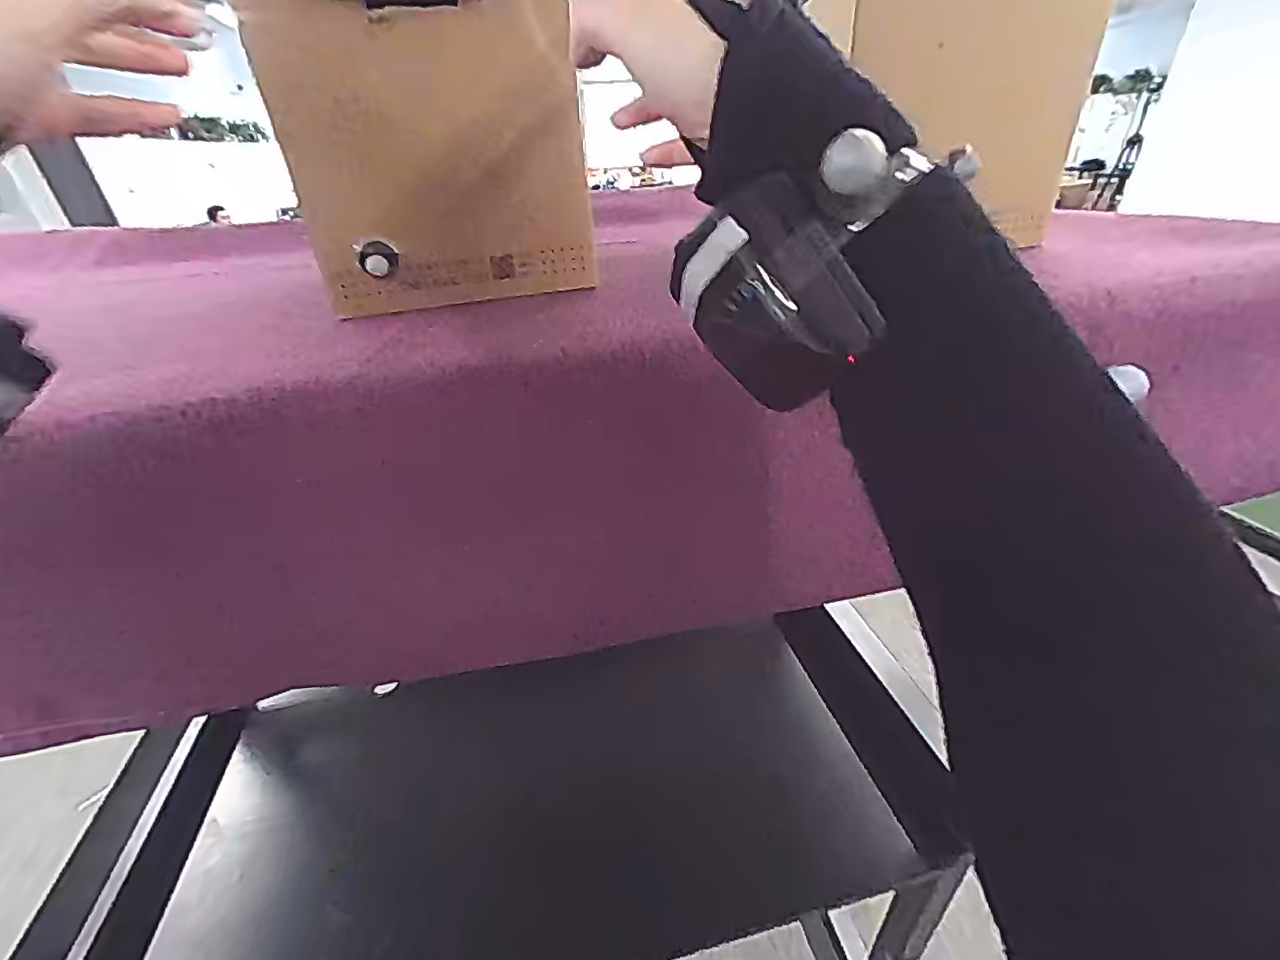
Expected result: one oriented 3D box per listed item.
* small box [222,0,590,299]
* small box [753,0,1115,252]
[{"bbox_3d":[-0.136,-0.227,0.368,0.168,0.176,0.179,-12,32,-14],"label":"small box"},{"bbox_3d":[0.190,-0.274,0.407,0.168,0.176,0.179,-8,32,-6],"label":"small box"}]
